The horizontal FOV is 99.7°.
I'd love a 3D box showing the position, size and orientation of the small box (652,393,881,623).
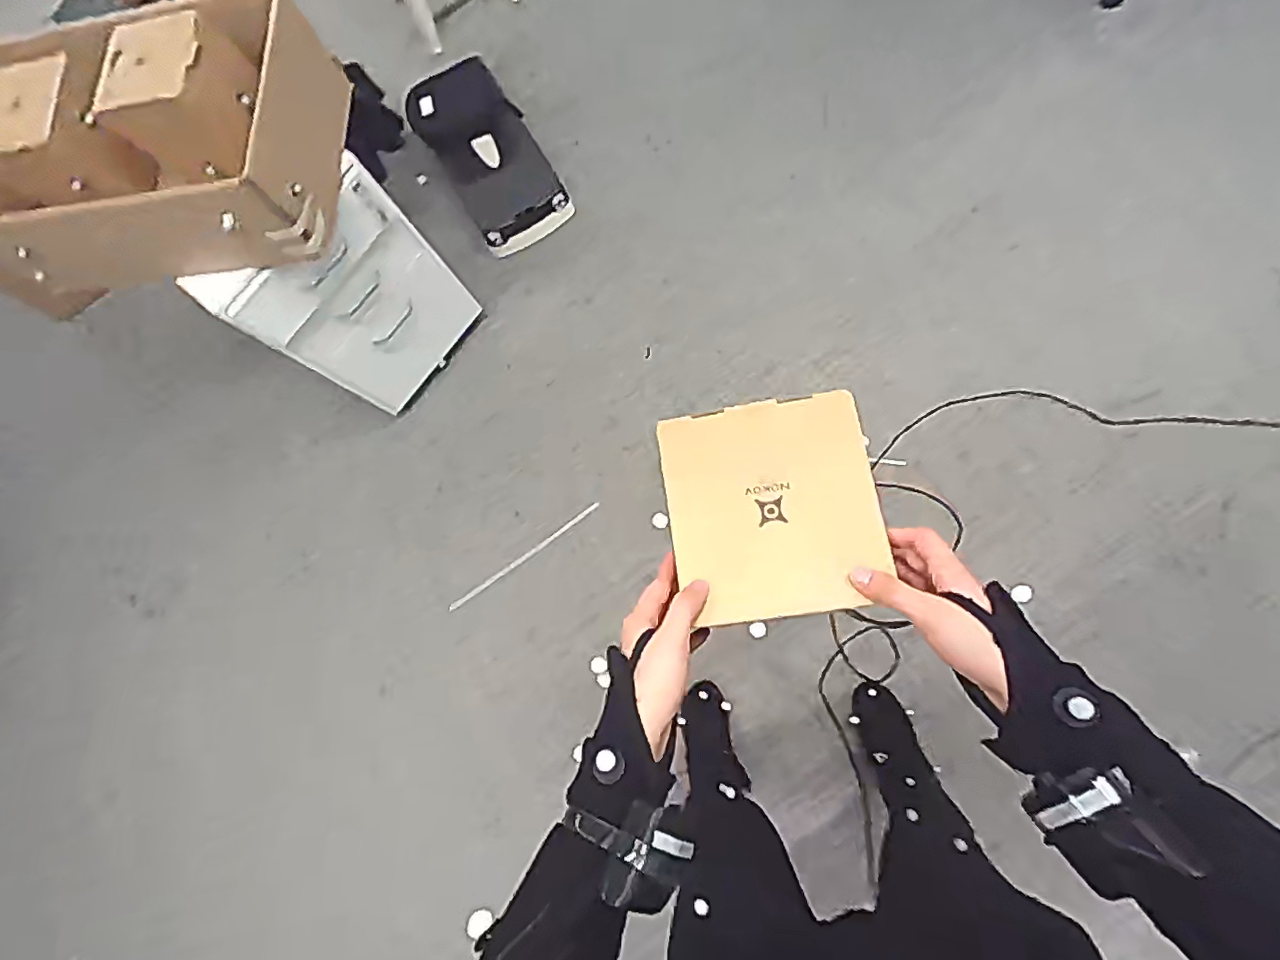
[{"bbox_3d":[0.112,0.039,0.525,0.168,0.176,0.179,-9,74,6],"label":"small box"}]
